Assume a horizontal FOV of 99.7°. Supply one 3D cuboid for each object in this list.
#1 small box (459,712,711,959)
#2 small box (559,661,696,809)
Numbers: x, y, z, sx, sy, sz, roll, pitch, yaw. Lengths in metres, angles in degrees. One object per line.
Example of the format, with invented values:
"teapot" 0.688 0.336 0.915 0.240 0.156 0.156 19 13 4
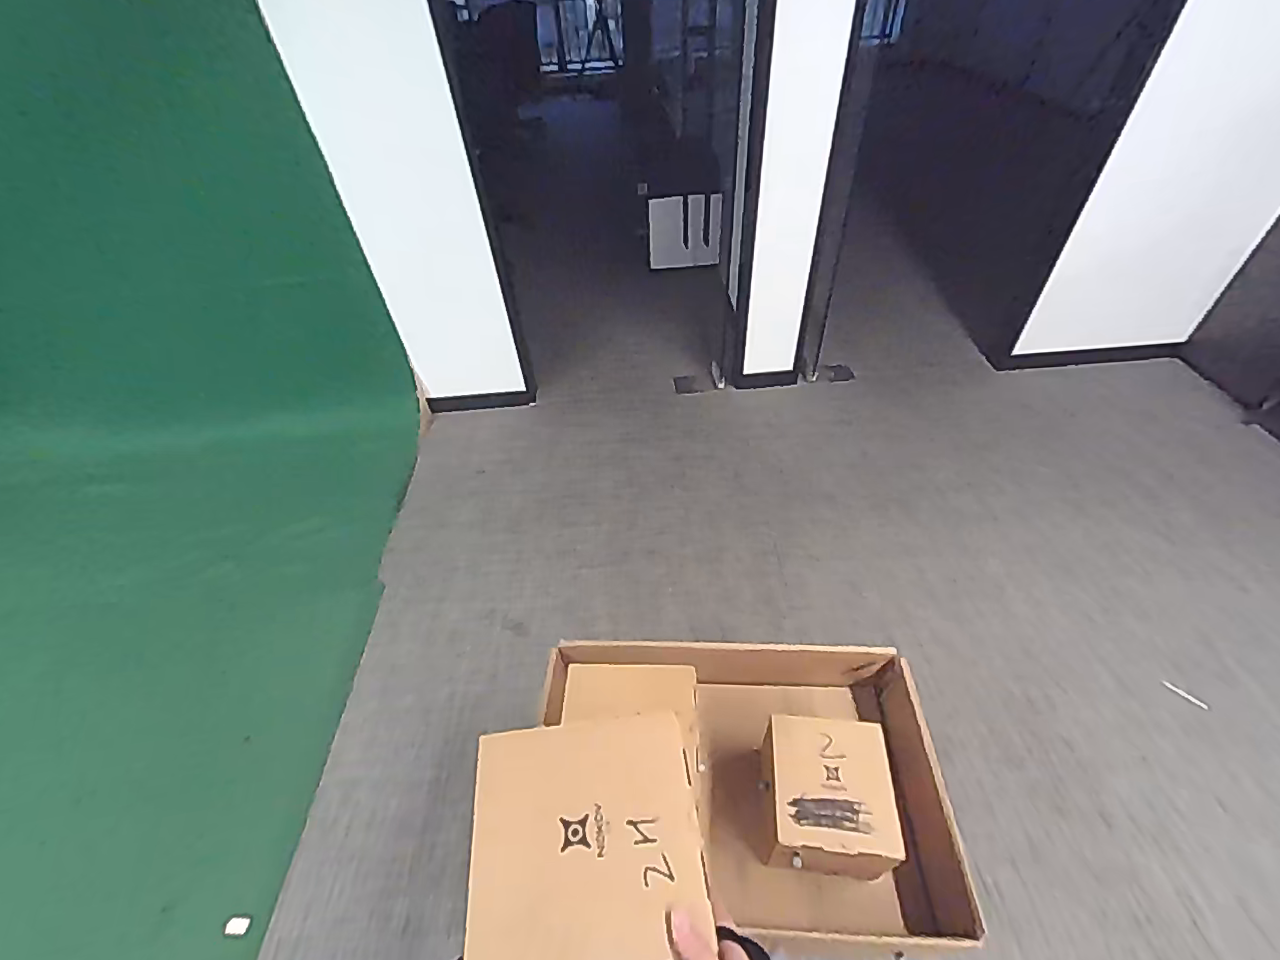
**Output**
"small box" -0.045 0.325 0.477 0.179 0.176 0.168 -4 49 -6
"small box" -0.014 0.365 0.742 0.179 0.176 0.168 1 46 2
